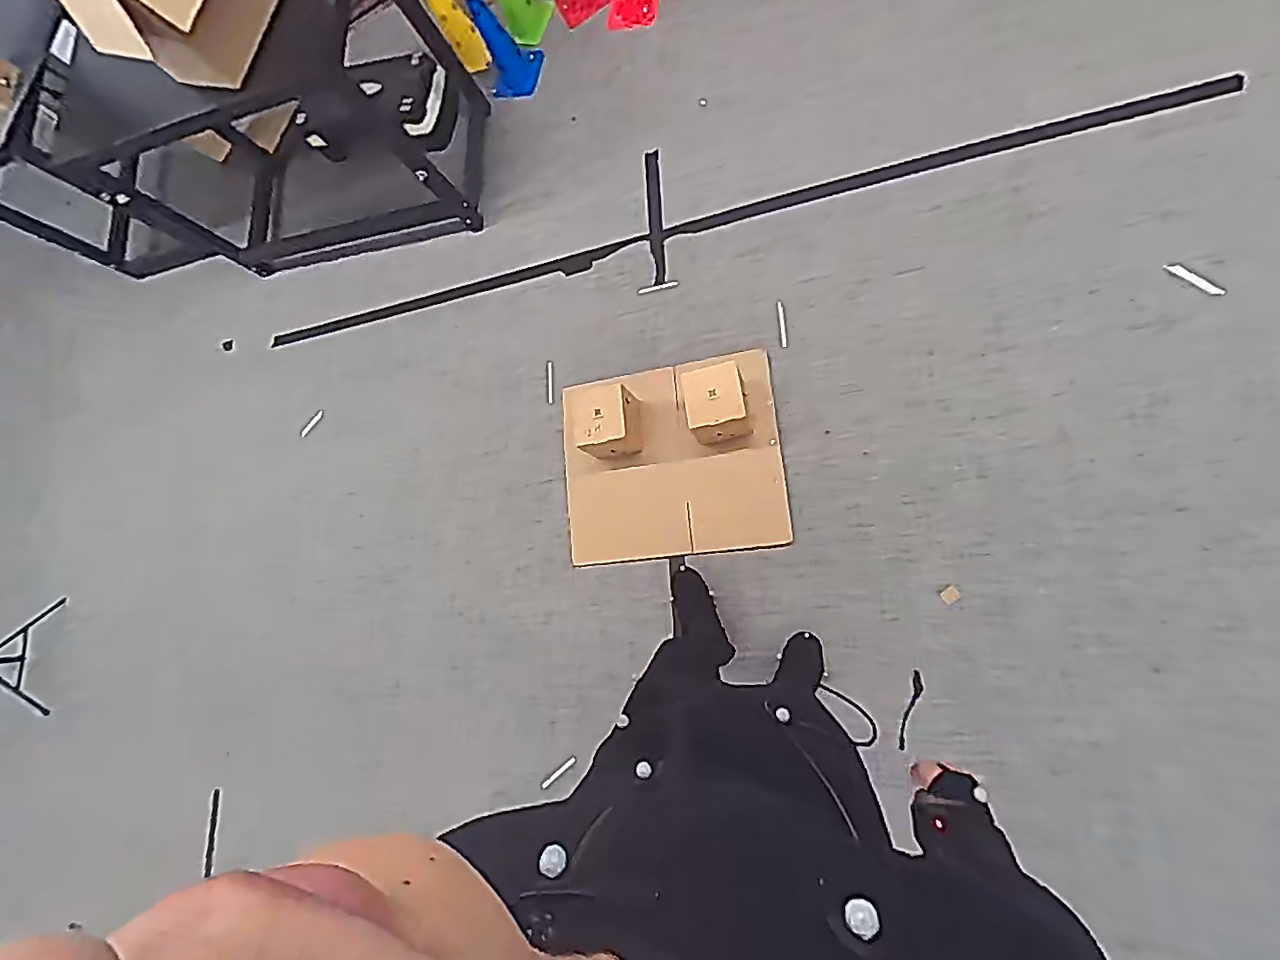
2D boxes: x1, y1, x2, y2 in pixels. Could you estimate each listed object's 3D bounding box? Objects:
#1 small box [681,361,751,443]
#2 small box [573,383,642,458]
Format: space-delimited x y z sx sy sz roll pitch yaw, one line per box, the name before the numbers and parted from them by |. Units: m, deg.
small box | 0.228 -0.225 1.604 0.168 0.176 0.179 -12 76 16
small box | -0.100 -0.181 1.696 0.168 0.176 0.179 -9 78 17
